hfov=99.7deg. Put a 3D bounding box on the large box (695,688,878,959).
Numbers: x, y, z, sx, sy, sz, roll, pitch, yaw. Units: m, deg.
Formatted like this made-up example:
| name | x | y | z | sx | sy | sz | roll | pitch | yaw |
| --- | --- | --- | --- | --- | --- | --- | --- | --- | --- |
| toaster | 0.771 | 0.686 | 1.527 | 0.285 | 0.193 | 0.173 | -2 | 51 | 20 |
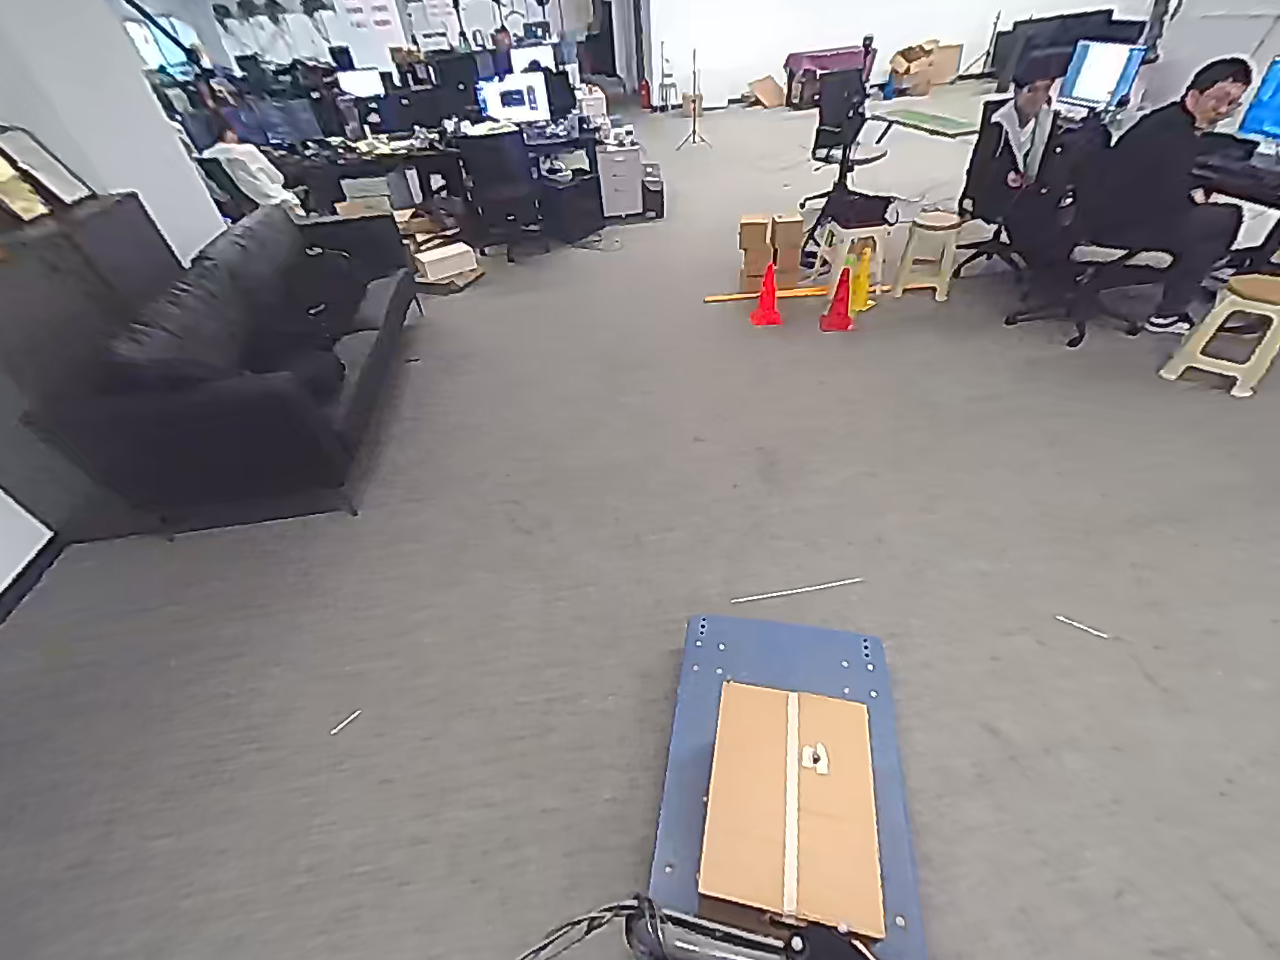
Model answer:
| name | x | y | z | sx | sy | sz | roll | pitch | yaw |
| --- | --- | --- | --- | --- | --- | --- | --- | --- | --- |
| large box | 0.296 | 0.732 | 1.163 | 0.320 | 0.320 | 0.408 | 6 | 42 | 12 |
